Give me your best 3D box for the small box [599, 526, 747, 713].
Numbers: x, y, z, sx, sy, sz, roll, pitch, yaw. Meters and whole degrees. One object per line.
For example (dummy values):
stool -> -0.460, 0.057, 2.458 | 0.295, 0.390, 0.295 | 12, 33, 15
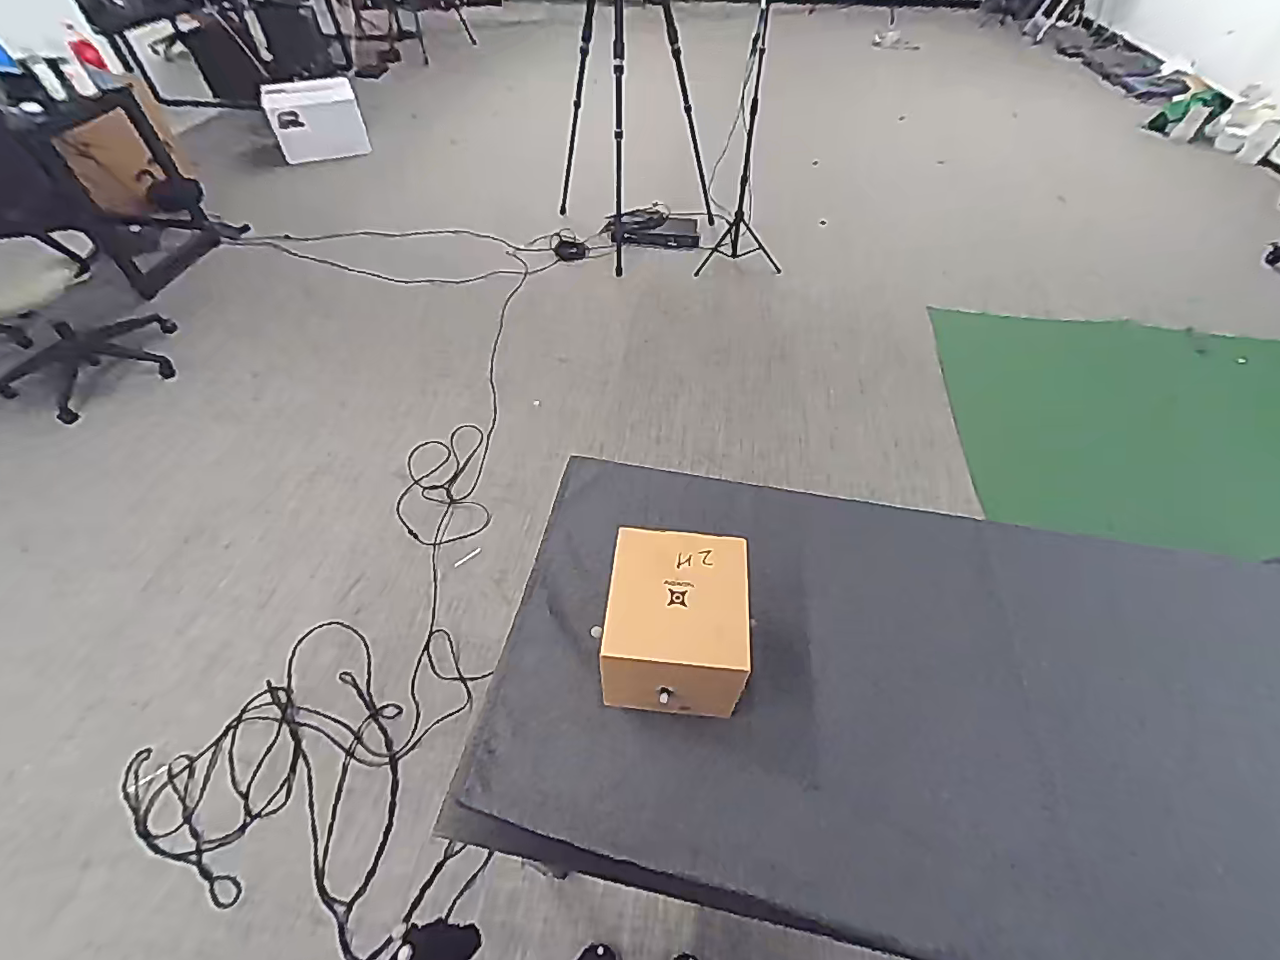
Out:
small box -> 0.044, 0.184, 0.700 | 0.168, 0.176, 0.179 | 5, 49, 3
